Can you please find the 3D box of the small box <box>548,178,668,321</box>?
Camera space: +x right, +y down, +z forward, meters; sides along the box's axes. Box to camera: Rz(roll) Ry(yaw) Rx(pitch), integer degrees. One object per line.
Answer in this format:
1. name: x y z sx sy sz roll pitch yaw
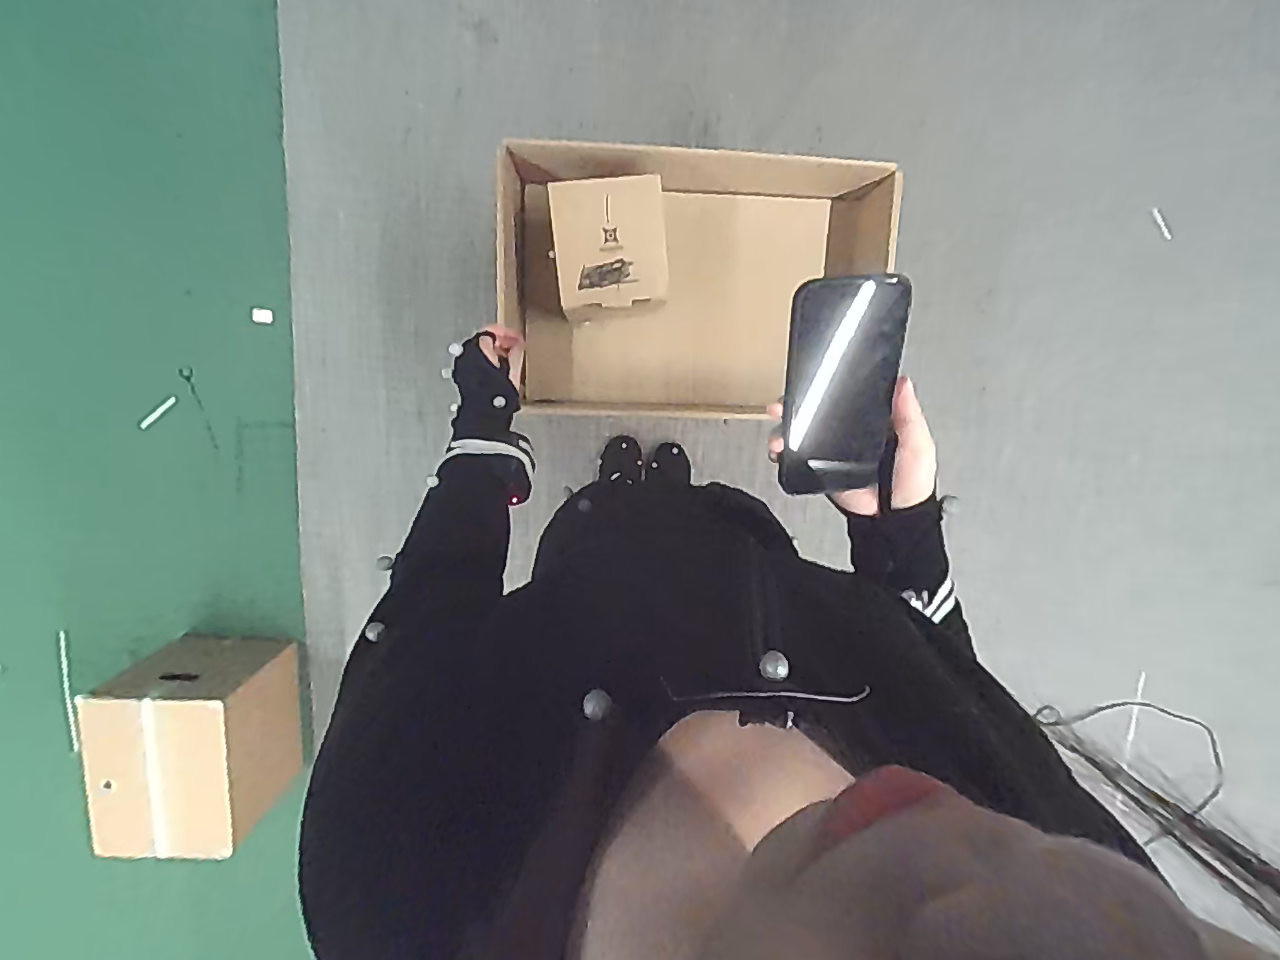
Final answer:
1. small box: -0.048 -0.355 0.868 0.168 0.176 0.179 -6 98 -2
